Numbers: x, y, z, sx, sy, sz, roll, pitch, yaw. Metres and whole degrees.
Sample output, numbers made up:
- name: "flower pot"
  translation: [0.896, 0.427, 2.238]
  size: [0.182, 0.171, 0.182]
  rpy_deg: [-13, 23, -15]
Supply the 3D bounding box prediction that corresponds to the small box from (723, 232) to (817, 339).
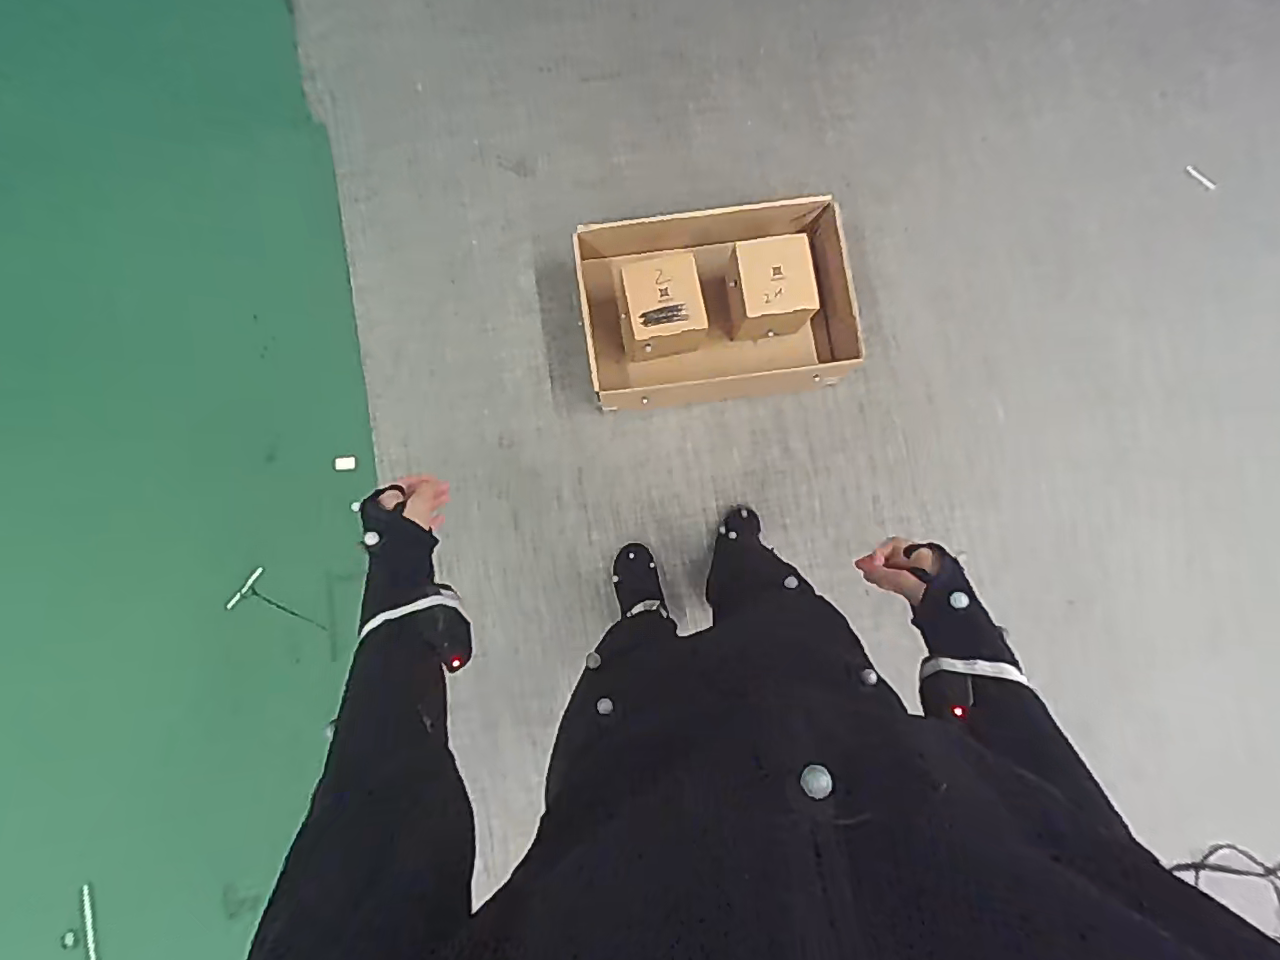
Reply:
- name: "small box"
  translation: [0.299, -0.453, 1.279]
  size: [0.168, 0.176, 0.179]
  rpy_deg: [-8, 86, -1]
